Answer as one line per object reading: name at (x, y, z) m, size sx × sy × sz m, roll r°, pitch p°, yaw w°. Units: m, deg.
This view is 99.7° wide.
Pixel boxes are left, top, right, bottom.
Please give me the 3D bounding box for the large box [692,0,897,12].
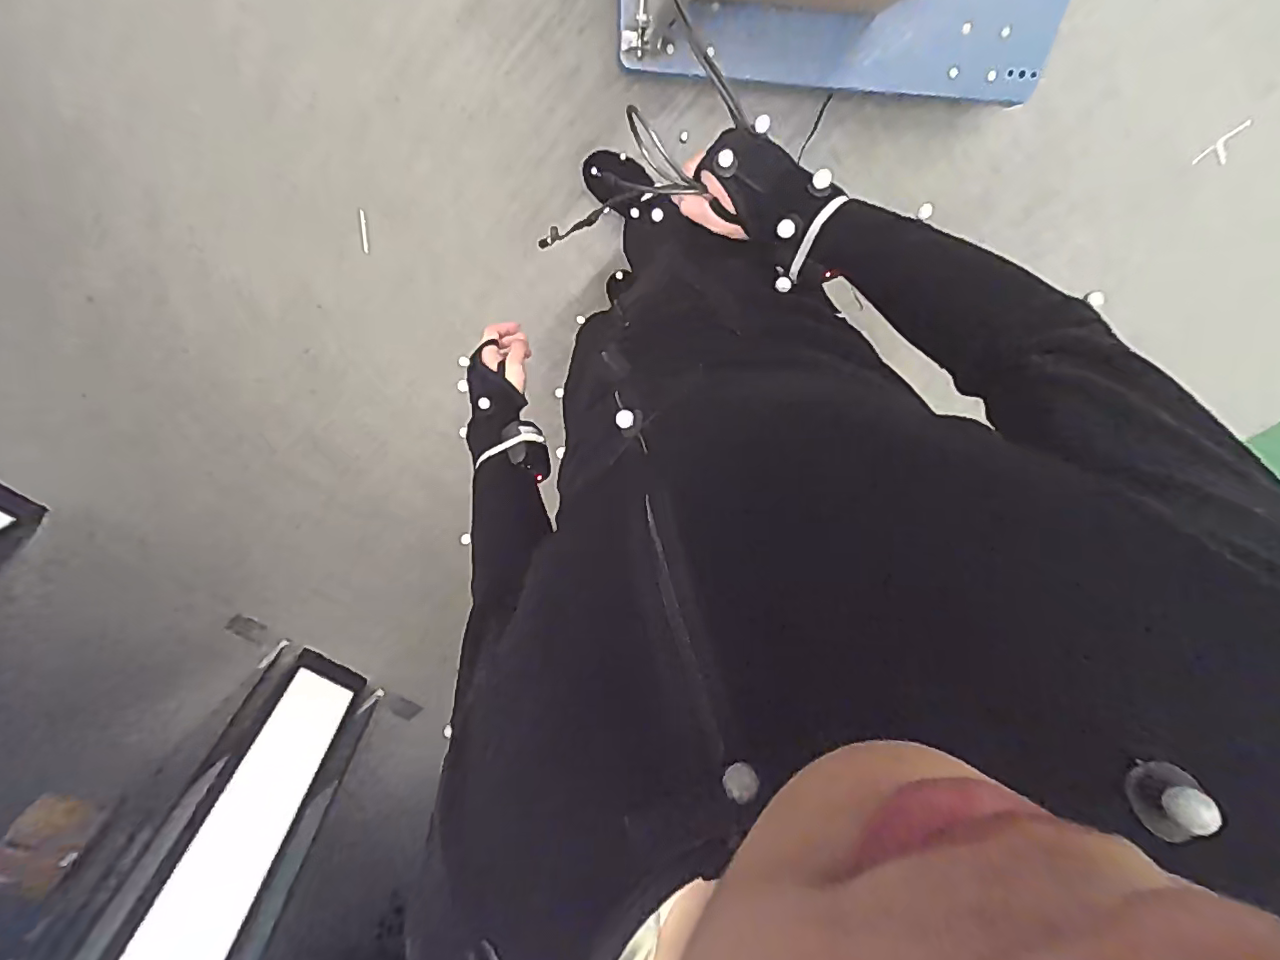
large box at (0.274, -0.952, 0.819) m, size 0.408 × 0.320 × 0.320 m, roll 2°, pitch 122°, yaw -4°
